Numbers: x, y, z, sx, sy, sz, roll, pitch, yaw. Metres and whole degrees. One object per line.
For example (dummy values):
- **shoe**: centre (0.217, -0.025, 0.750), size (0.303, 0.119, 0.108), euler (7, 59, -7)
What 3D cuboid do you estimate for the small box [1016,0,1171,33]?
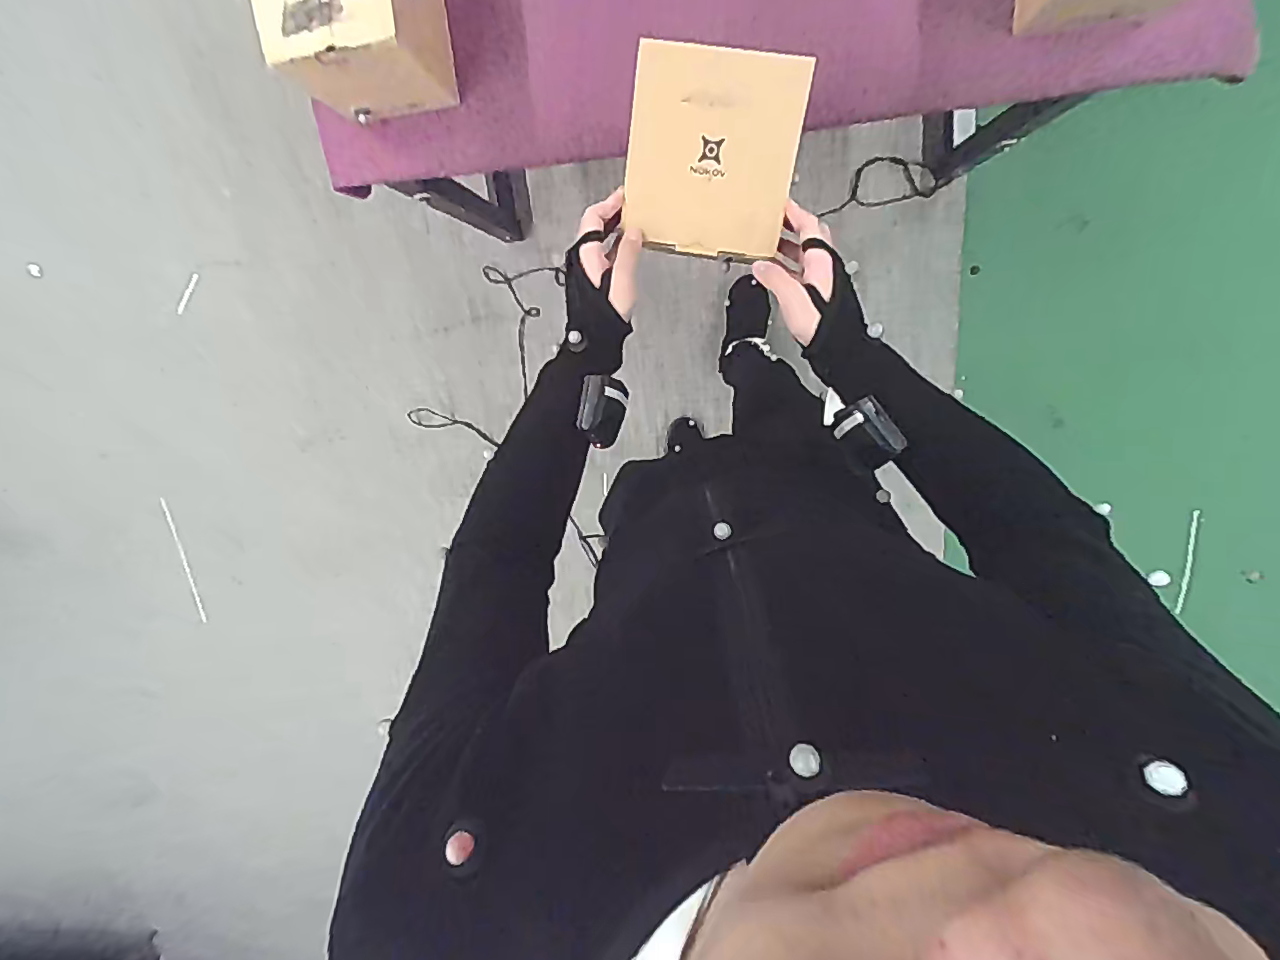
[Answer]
- **small box**: centre (0.525, -0.619, 0.561), size (0.168, 0.176, 0.179), euler (-2, 106, 10)

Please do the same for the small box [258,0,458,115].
- **small box**: centre (-0.351, -0.594, 0.686), size (0.168, 0.176, 0.179), euler (-4, 103, 8)

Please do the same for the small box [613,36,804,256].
- **small box**: centre (0.073, -0.356, 0.610), size (0.168, 0.176, 0.179), euler (9, 112, 4)
